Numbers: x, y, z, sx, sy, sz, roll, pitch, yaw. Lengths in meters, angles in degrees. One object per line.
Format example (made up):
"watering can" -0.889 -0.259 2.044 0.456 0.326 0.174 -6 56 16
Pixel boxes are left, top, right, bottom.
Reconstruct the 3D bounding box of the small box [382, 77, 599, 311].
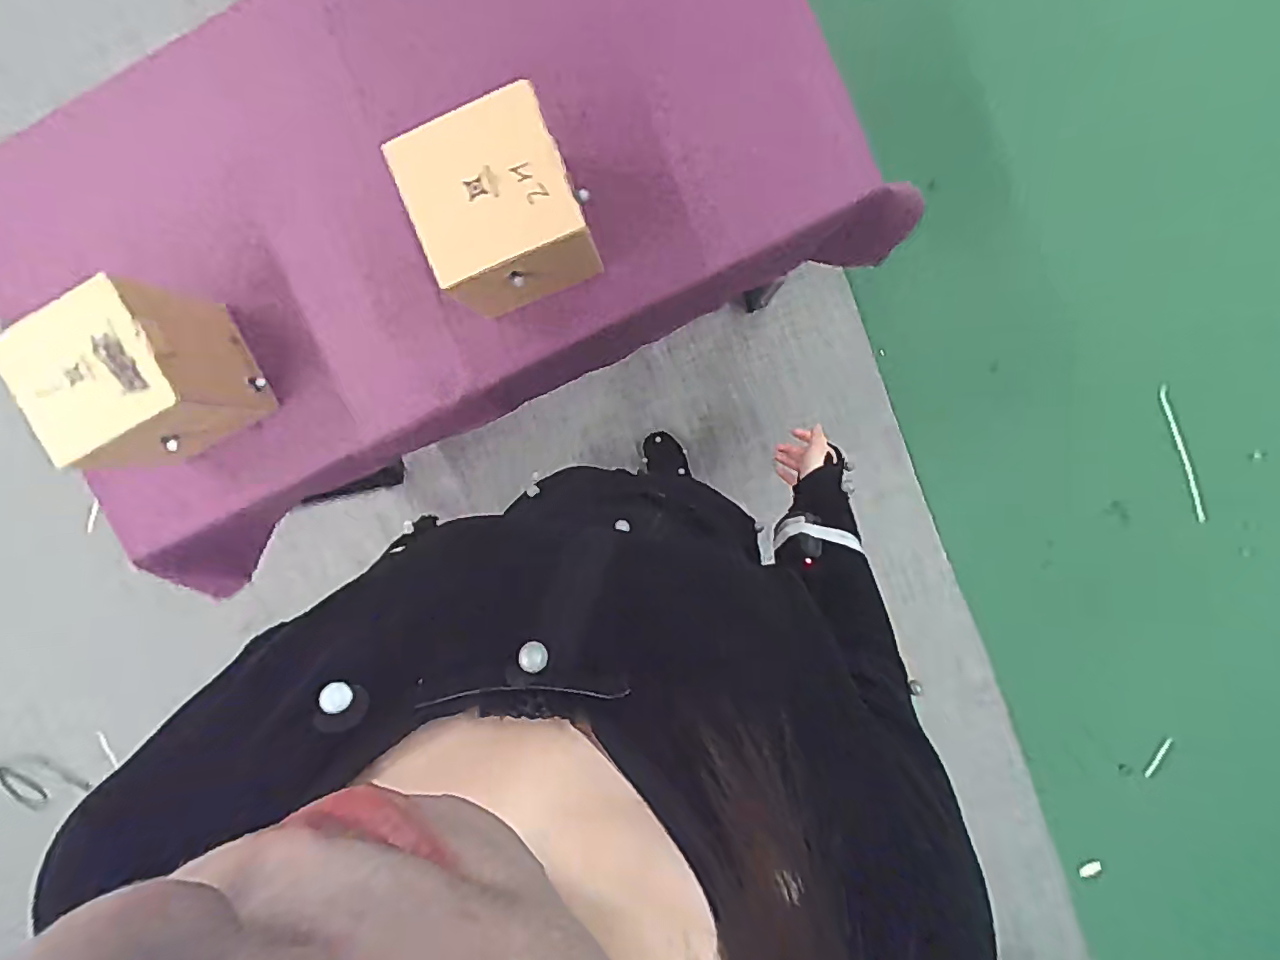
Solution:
"small box" -0.165 -0.324 0.655 0.179 0.176 0.168 -21 95 5

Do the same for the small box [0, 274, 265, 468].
"small box" -0.632 -0.132 0.696 0.179 0.176 0.168 -27 94 6
